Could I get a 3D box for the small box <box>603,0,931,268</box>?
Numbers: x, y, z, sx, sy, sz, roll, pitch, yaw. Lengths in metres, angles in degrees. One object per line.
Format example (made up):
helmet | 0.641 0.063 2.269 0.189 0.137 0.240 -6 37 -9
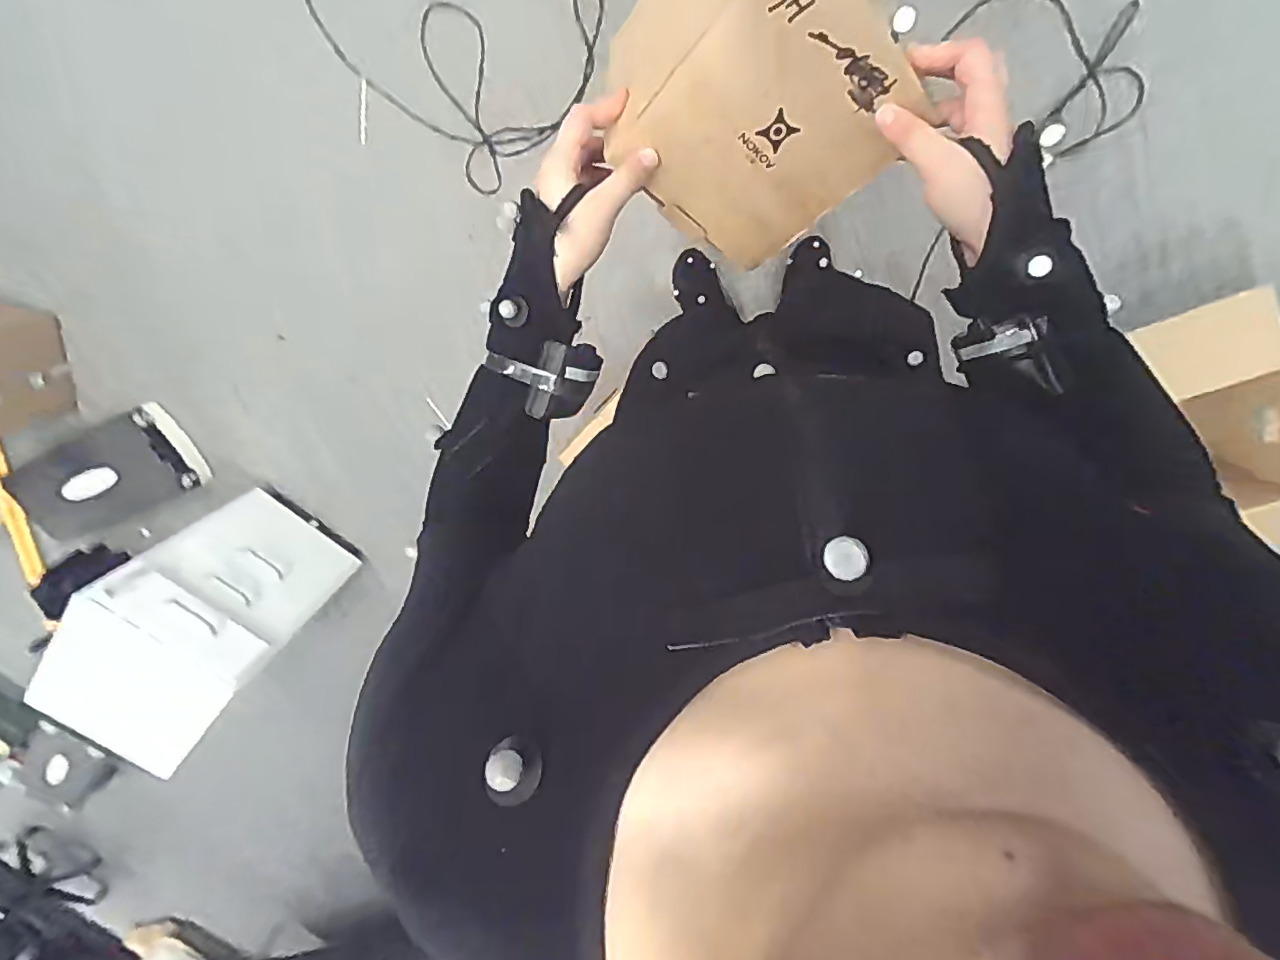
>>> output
small box | 0.093 -0.317 0.425 0.168 0.176 0.179 23 146 -35
